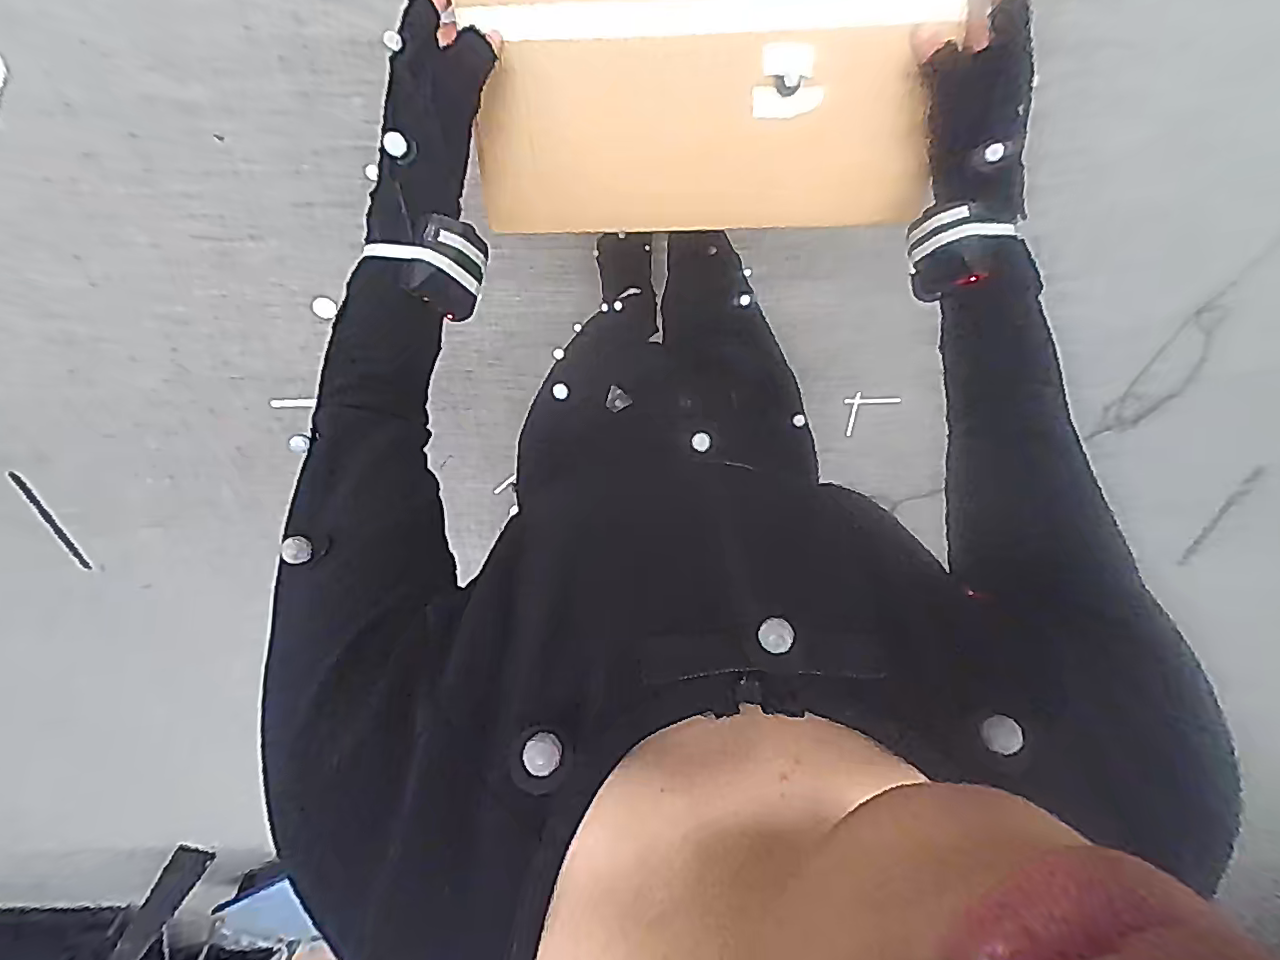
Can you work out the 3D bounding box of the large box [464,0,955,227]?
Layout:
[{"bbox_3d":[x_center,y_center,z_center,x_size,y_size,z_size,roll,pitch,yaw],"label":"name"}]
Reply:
[{"bbox_3d":[0.054,-0.459,0.561,0.408,0.320,0.320,-2,123,1],"label":"large box"}]
